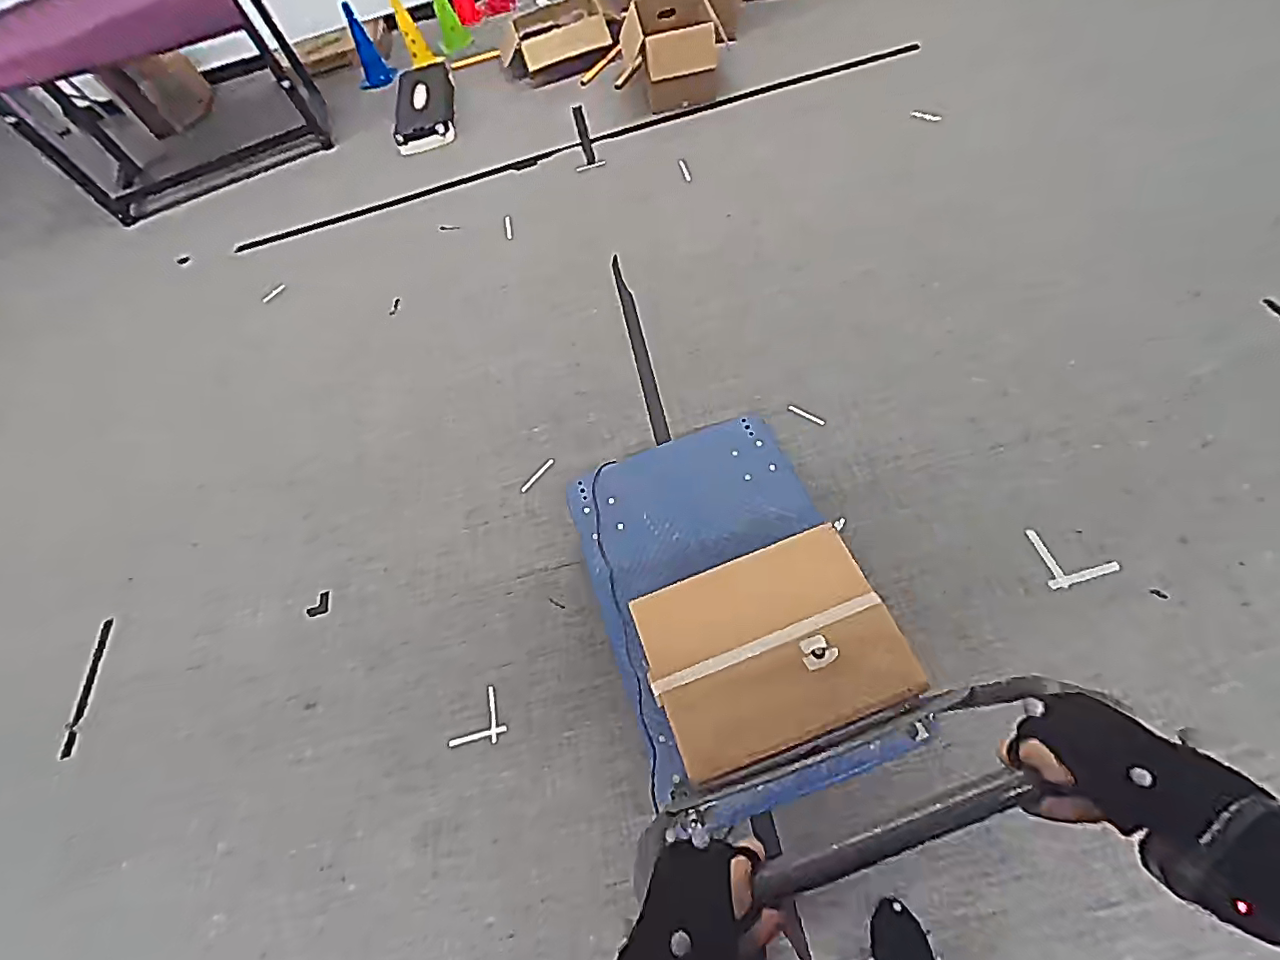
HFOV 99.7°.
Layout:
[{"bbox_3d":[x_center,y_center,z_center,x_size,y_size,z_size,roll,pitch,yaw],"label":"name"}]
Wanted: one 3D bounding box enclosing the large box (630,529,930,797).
[{"bbox_3d":[0.235,0.355,1.019,0.408,0.320,0.320,-22,60,-3],"label":"large box"}]
